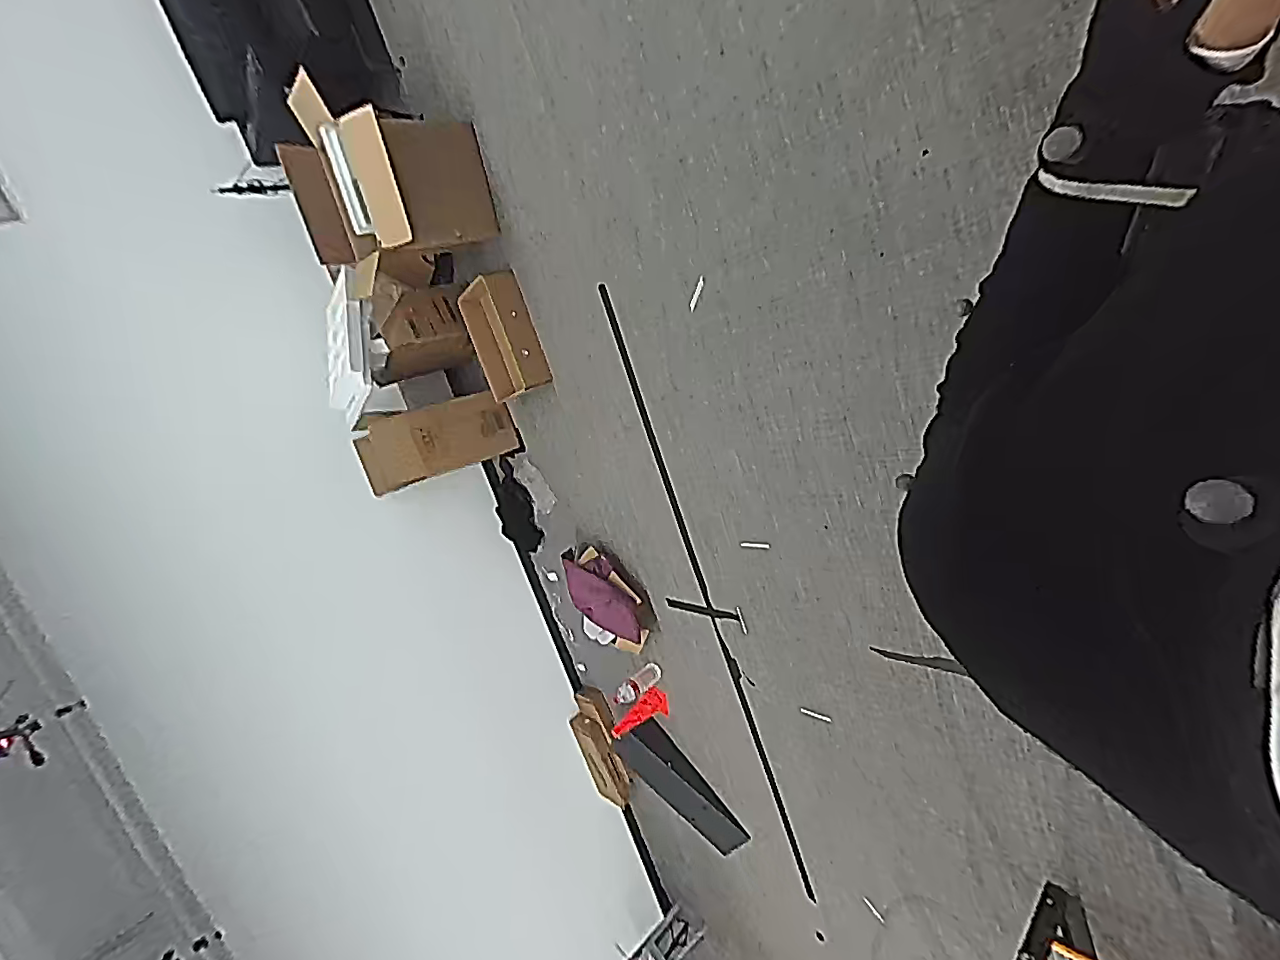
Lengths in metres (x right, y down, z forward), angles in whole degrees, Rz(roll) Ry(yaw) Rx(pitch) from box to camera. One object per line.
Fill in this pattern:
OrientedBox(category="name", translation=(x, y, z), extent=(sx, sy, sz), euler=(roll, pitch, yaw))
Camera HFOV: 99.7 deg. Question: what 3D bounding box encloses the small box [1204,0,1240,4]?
OrientedBox(category="small box", translation=(0.639, -0.576, 0.485), extent=(0.179, 0.176, 0.168), euler=(9, 120, 52))
